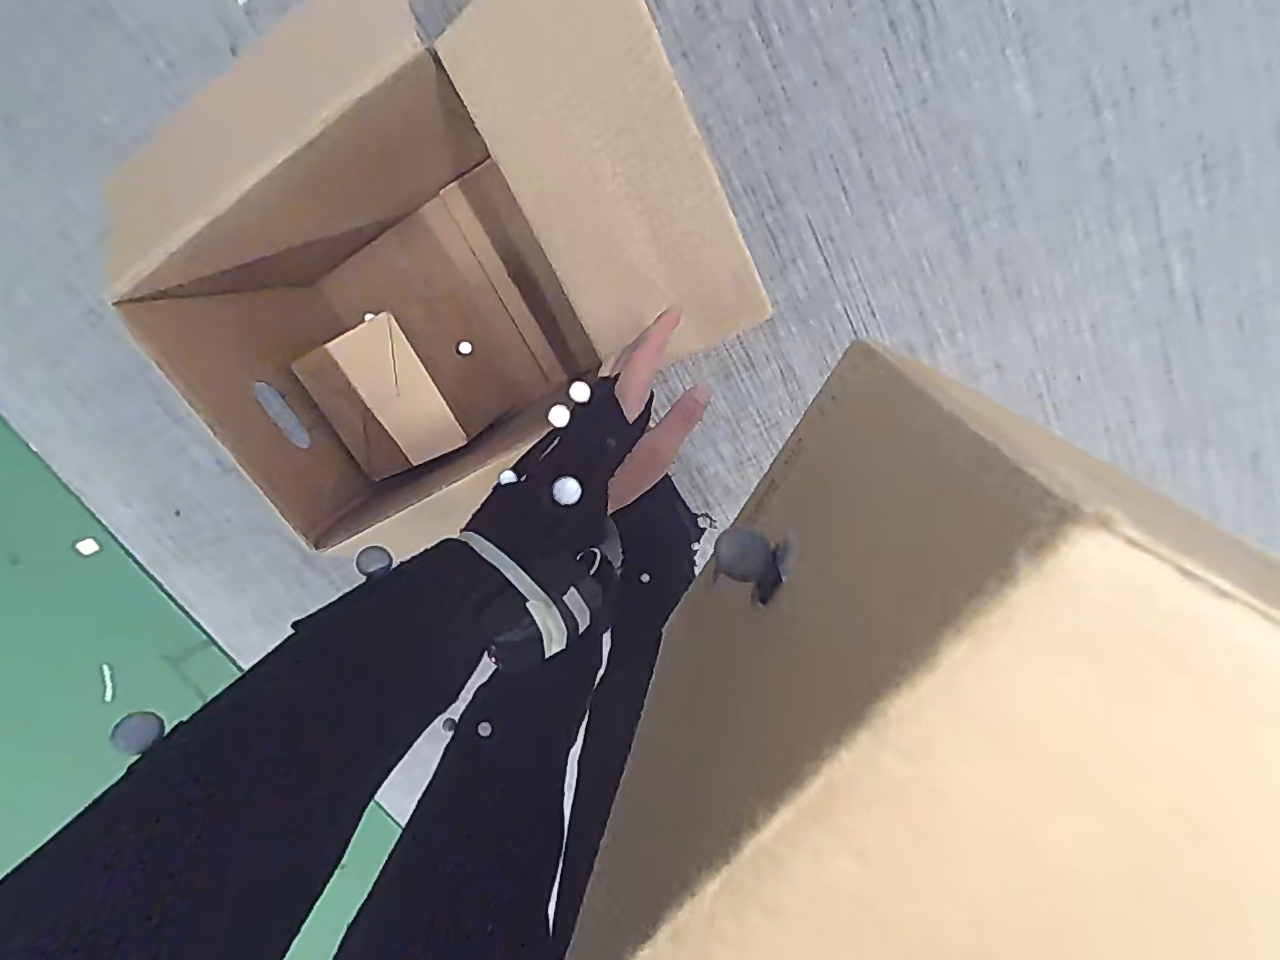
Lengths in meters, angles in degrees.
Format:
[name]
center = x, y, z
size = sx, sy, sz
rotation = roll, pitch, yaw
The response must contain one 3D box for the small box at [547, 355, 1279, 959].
[small box]
center = 0.103, 0.074, 0.173
size = 0.179, 0.176, 0.168
rotation = 29, 114, 1
